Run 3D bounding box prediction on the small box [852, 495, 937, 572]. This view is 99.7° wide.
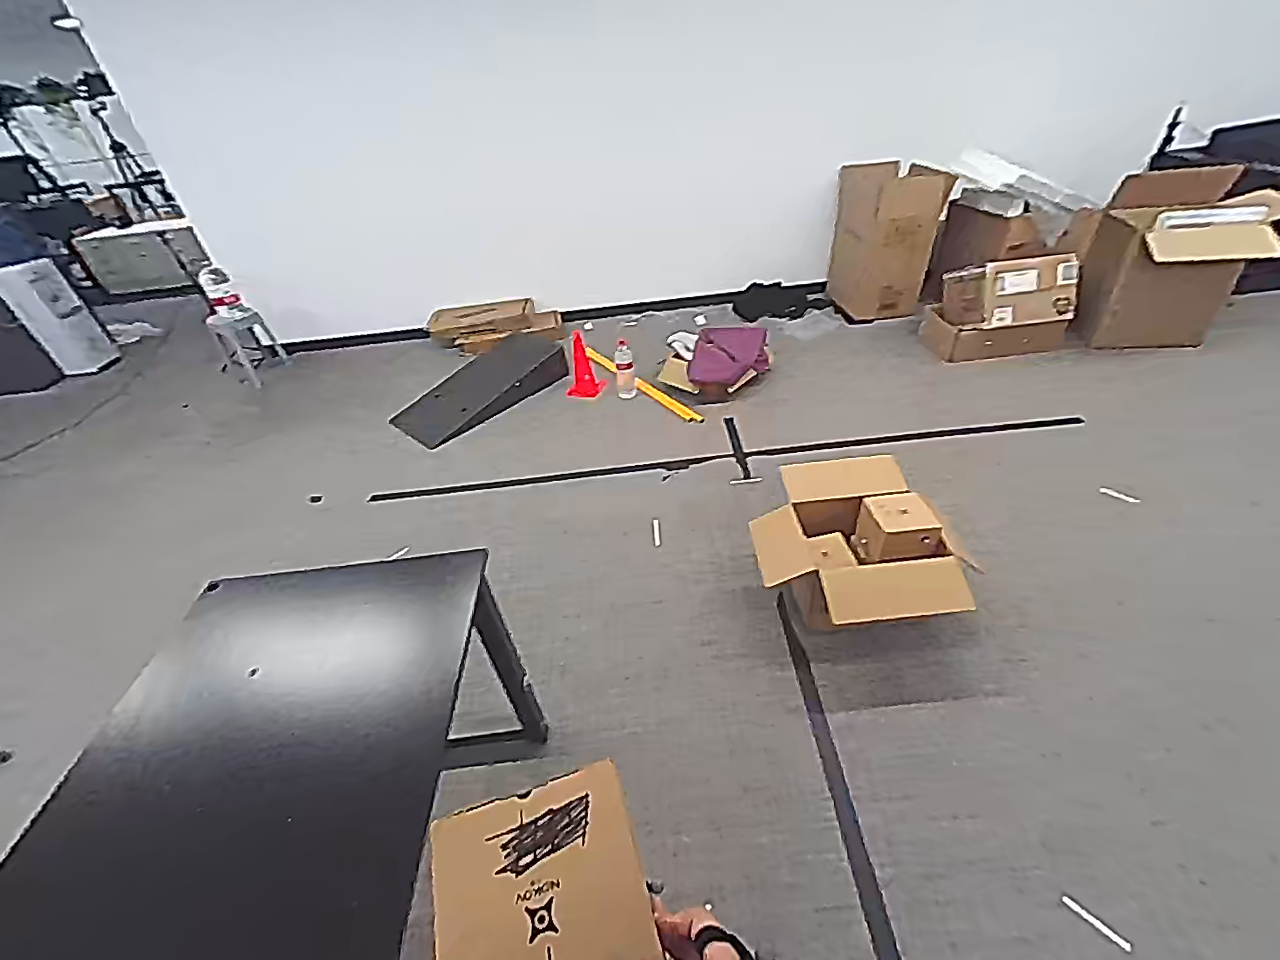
[{"bbox_3d":[0.795,0.170,1.707,0.179,0.176,0.168,-7,38,-1],"label":"small box"}]

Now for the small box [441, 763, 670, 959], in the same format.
[{"bbox_3d":[-0.069,0.395,0.489,0.168,0.176,0.179,-16,47,-9],"label":"small box"}]
